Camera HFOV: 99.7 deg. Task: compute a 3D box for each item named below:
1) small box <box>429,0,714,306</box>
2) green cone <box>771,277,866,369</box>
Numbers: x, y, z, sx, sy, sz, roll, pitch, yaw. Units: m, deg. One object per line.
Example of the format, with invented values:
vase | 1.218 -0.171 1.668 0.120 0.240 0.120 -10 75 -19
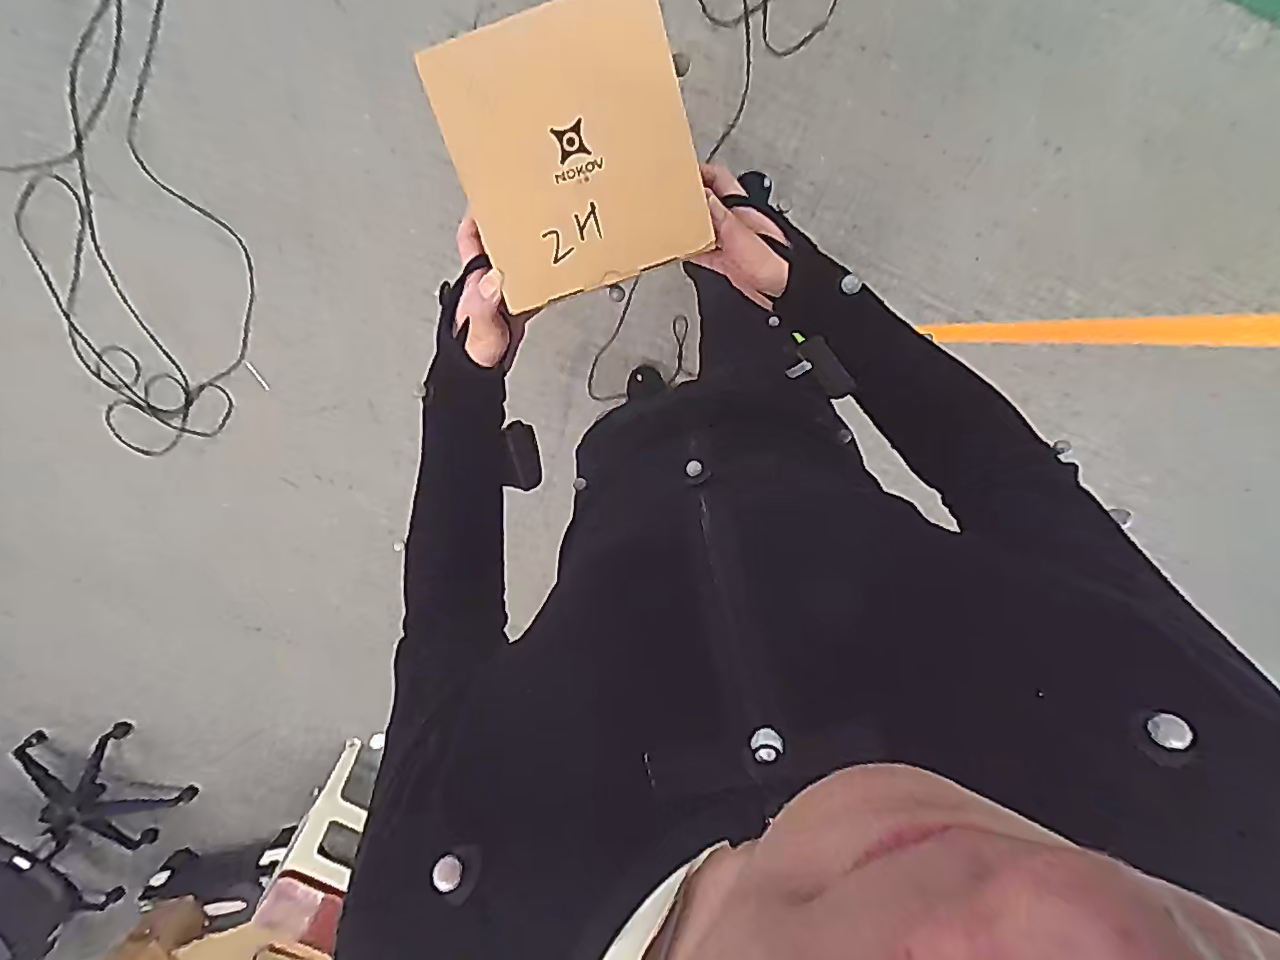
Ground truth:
small box | -0.047 -0.259 0.463 0.168 0.176 0.179 -16 109 5
green cone | 0.476 -0.368 1.316 0.202 0.368 0.200 22 109 -5
